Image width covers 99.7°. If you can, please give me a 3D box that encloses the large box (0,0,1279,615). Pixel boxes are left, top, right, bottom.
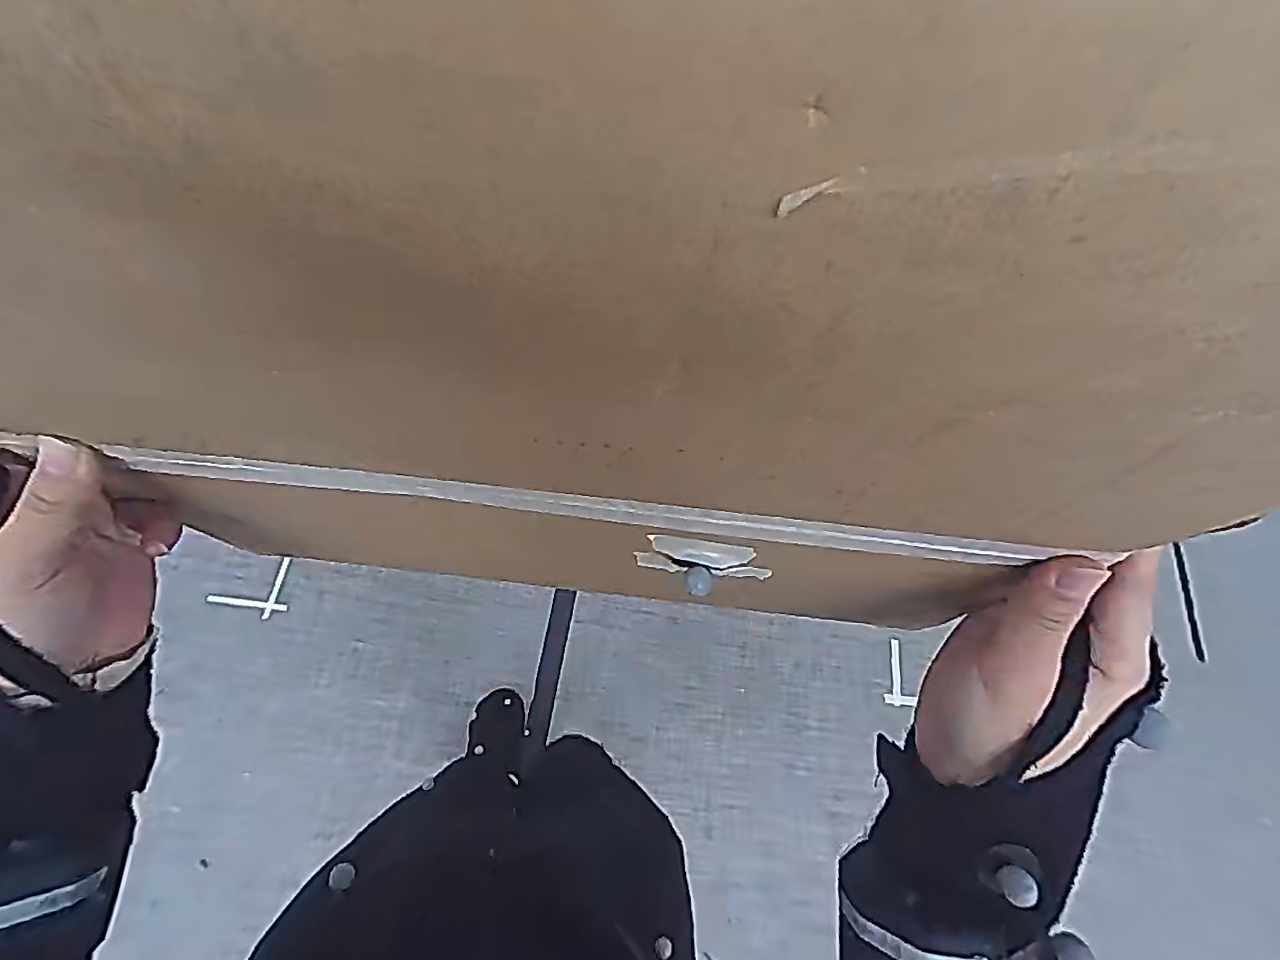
[{"bbox_3d":[-0.027,-0.135,0.259,0.408,0.320,0.320,5,67,3],"label":"large box"}]
